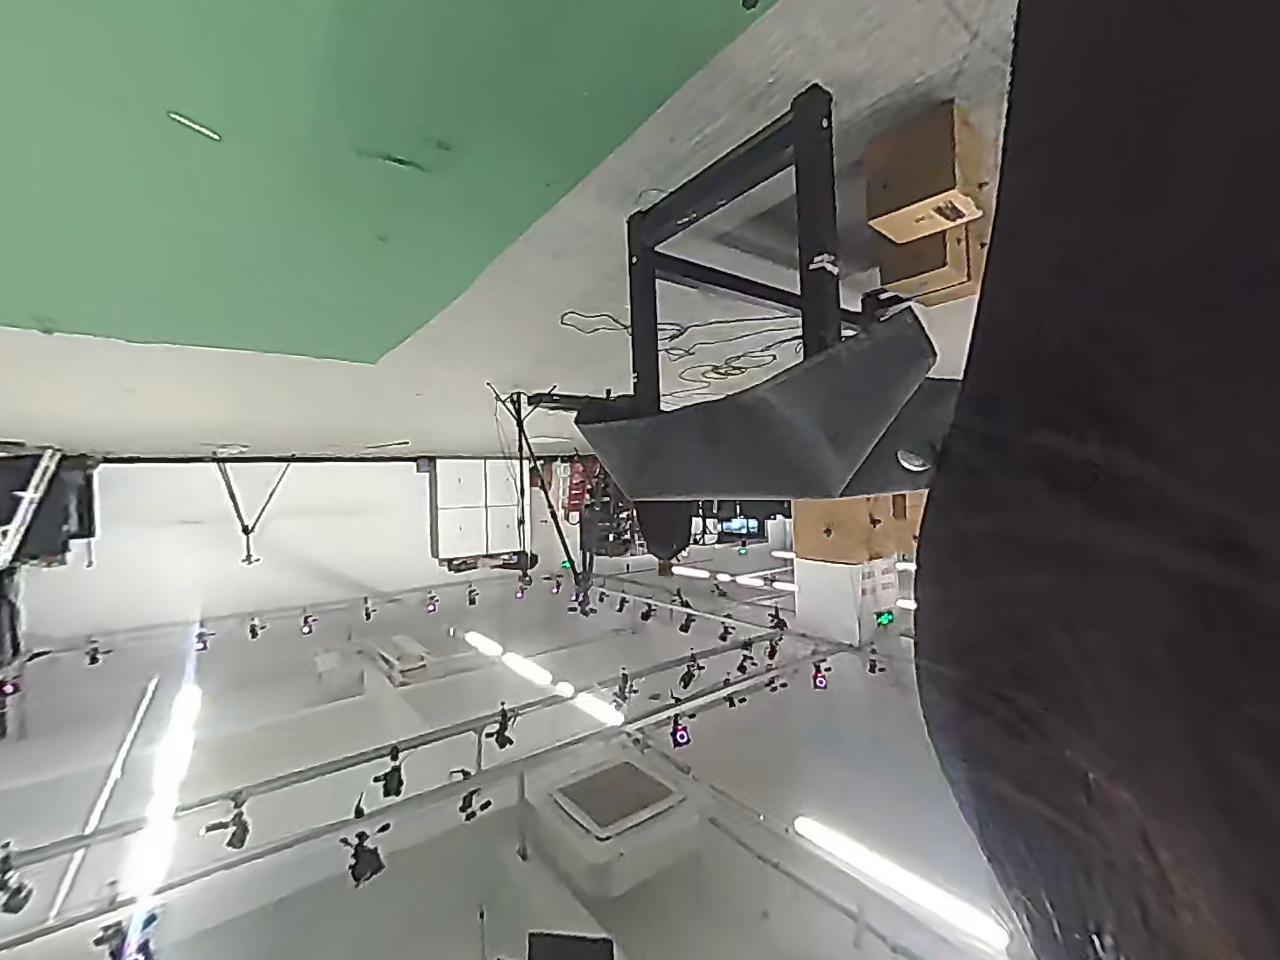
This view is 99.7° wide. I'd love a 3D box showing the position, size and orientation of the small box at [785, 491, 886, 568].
[{"bbox_3d":[0.473,0.116,1.324,0.168,0.176,0.179,-1,178,-36],"label":"small box"}]
